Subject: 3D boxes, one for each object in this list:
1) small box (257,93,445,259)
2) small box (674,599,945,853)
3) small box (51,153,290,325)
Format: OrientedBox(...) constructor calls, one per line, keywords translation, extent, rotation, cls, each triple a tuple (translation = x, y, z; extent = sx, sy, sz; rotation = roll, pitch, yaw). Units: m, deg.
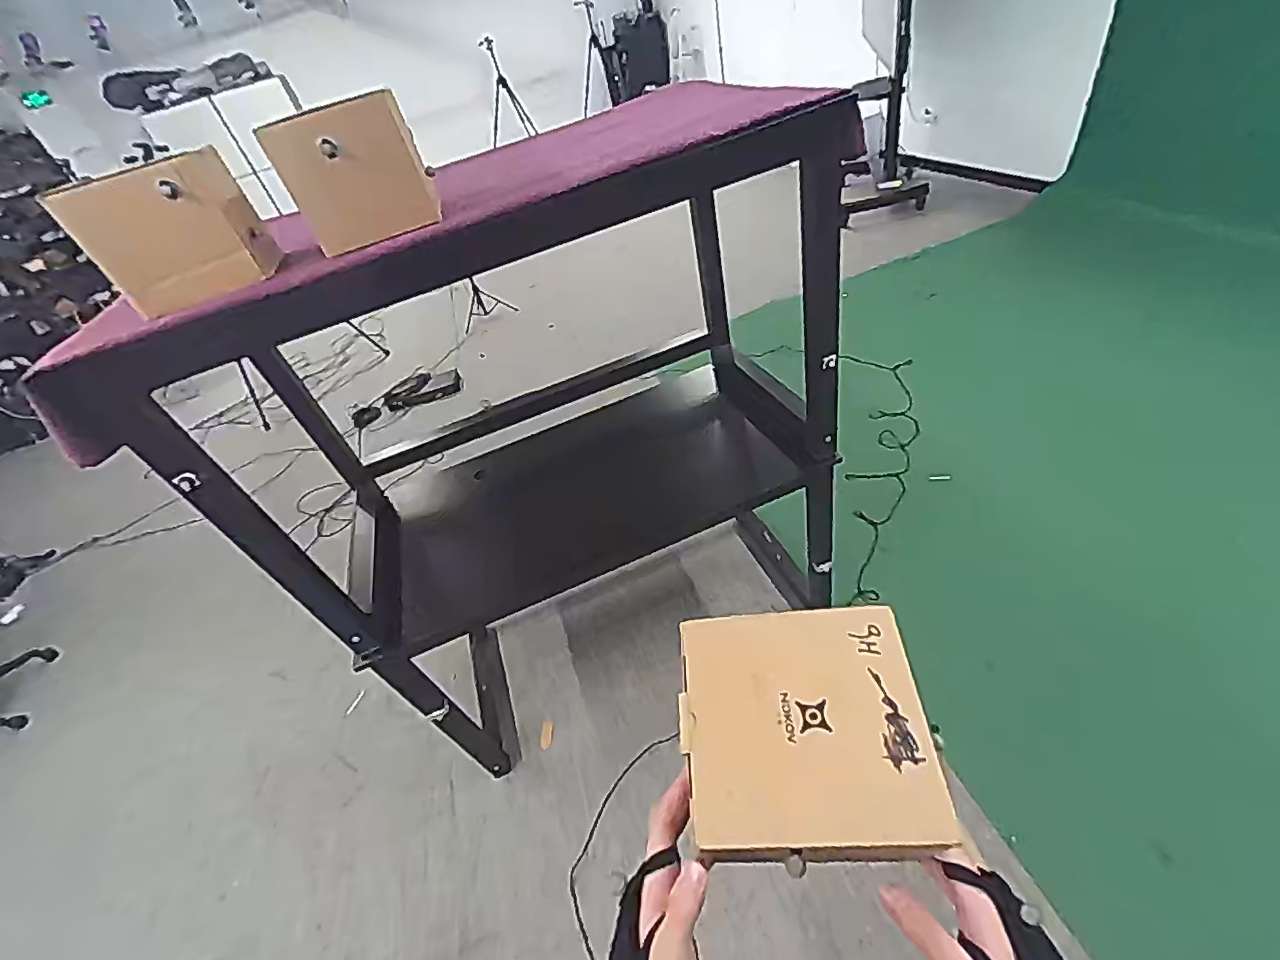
OrientedBox(translation=(-0.416, -0.454, 0.811), extent=(0.179, 0.176, 0.168), rotation=(-22, 41, -4), cls="small box")
OrientedBox(translation=(0.131, 0.220, 0.471), extent=(0.179, 0.176, 0.168), rotation=(-7, 52, 9), cls="small box")
OrientedBox(translation=(-0.655, -0.349, 0.785), extent=(0.179, 0.176, 0.168), rotation=(-24, 41, -8), cls="small box")
